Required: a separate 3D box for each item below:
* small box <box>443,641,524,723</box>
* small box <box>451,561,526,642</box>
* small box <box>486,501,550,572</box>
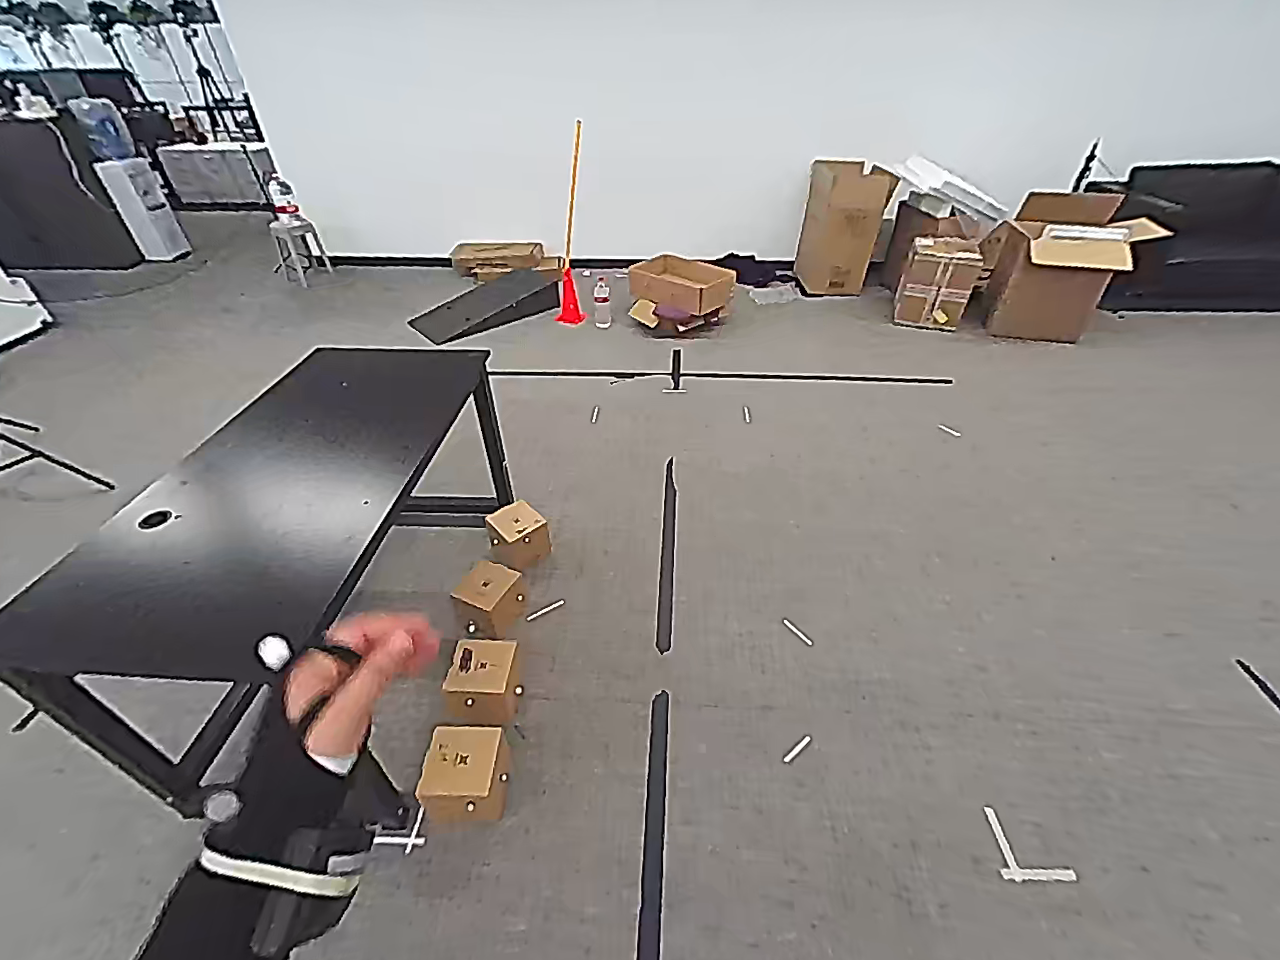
[{"bbox_3d":[-0.452,0.594,1.588,0.179,0.176,0.168,2,39,1],"label":"small box"},{"bbox_3d":[-0.500,0.409,1.820,0.168,0.176,0.179,15,42,20],"label":"small box"},{"bbox_3d":[-0.460,0.217,2.052,0.168,0.176,0.179,-31,48,-32],"label":"small box"}]
